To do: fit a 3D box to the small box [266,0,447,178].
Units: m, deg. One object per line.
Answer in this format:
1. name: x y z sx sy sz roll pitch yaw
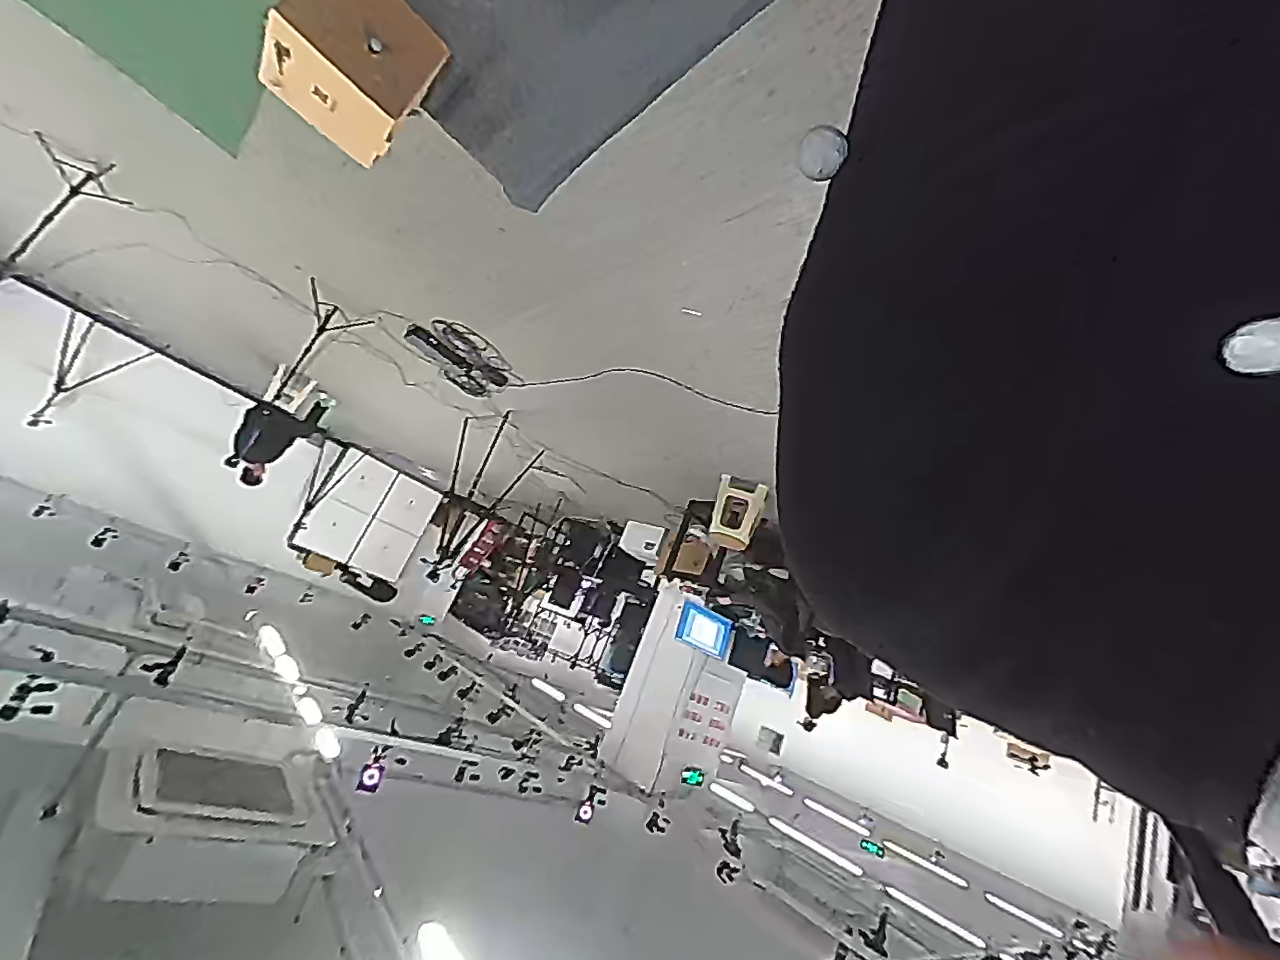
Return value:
1. small box: -0.426 -0.618 0.824 0.179 0.176 0.168 33 158 -34
